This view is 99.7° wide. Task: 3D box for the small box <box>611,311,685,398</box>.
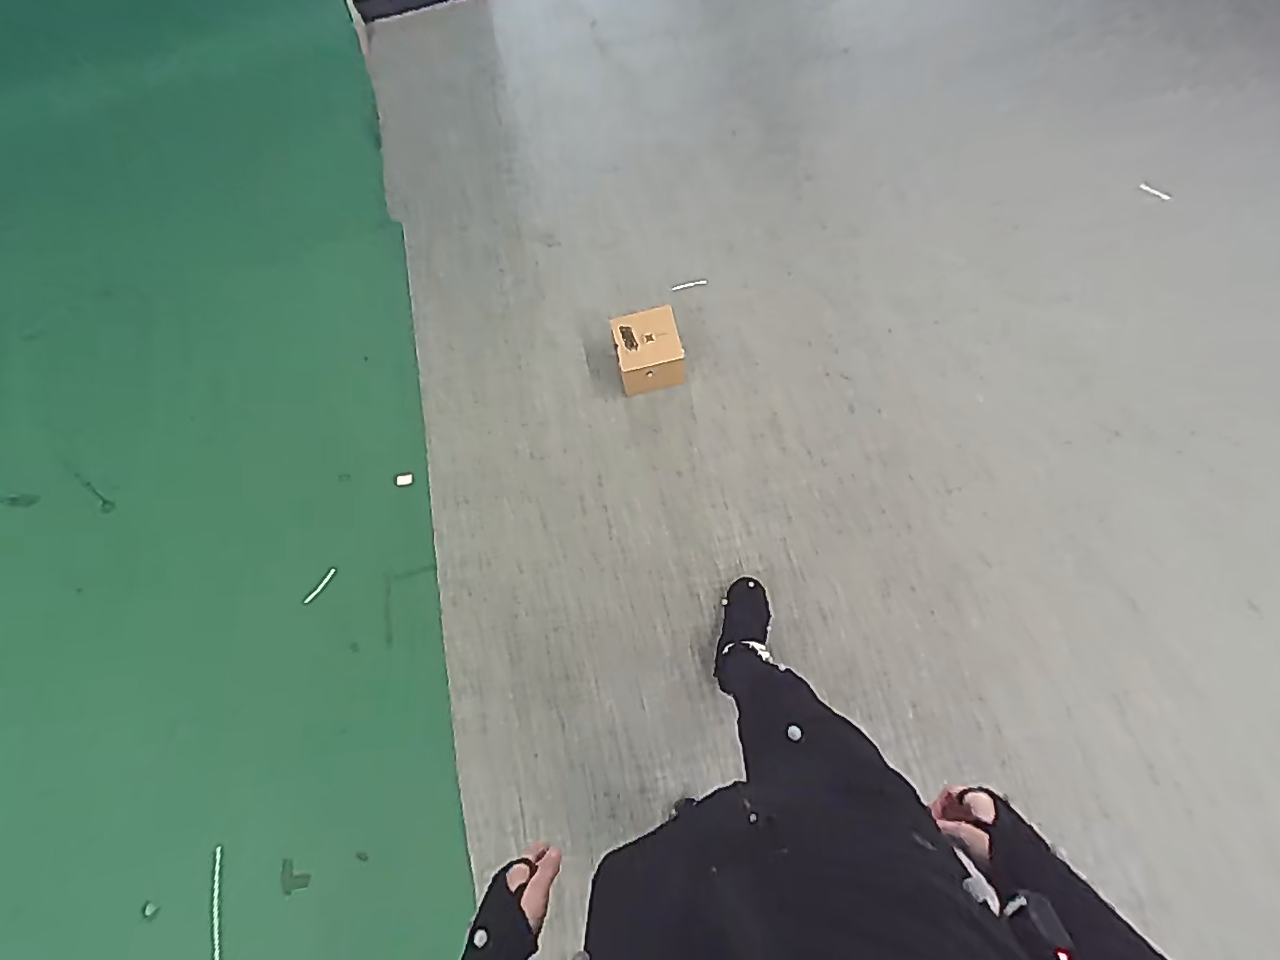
[{"bbox_3d":[0.027,-0.352,1.547,0.179,0.176,0.168,-13,75,0],"label":"small box"}]
